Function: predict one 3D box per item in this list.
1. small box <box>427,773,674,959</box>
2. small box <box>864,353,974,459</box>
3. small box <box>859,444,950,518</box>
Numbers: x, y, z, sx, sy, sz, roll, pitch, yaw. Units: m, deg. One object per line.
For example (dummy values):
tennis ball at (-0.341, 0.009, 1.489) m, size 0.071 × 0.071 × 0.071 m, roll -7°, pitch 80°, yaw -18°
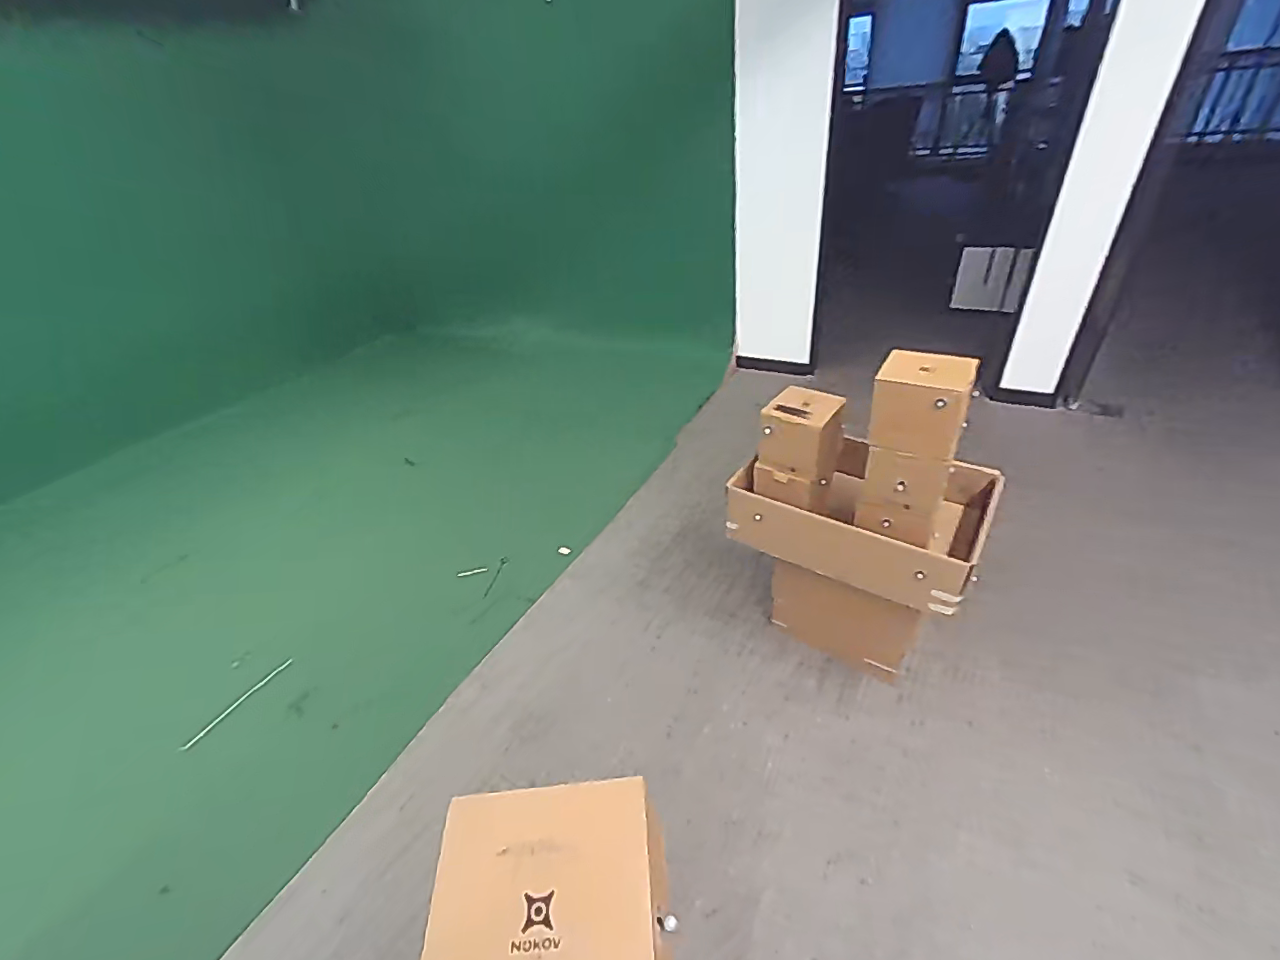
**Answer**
small box at (-0.060, 0.369, 0.448) m, size 0.168 × 0.176 × 0.179 m, roll -6°, pitch 44°, yaw 3°
small box at (0.617, -0.166, 1.211) m, size 0.179 × 0.176 × 0.168 m, roll 17°, pitch 43°, yaw 30°
small box at (0.640, -0.034, 1.306) m, size 0.168 × 0.176 × 0.179 m, roll 17°, pitch 43°, yaw 29°
